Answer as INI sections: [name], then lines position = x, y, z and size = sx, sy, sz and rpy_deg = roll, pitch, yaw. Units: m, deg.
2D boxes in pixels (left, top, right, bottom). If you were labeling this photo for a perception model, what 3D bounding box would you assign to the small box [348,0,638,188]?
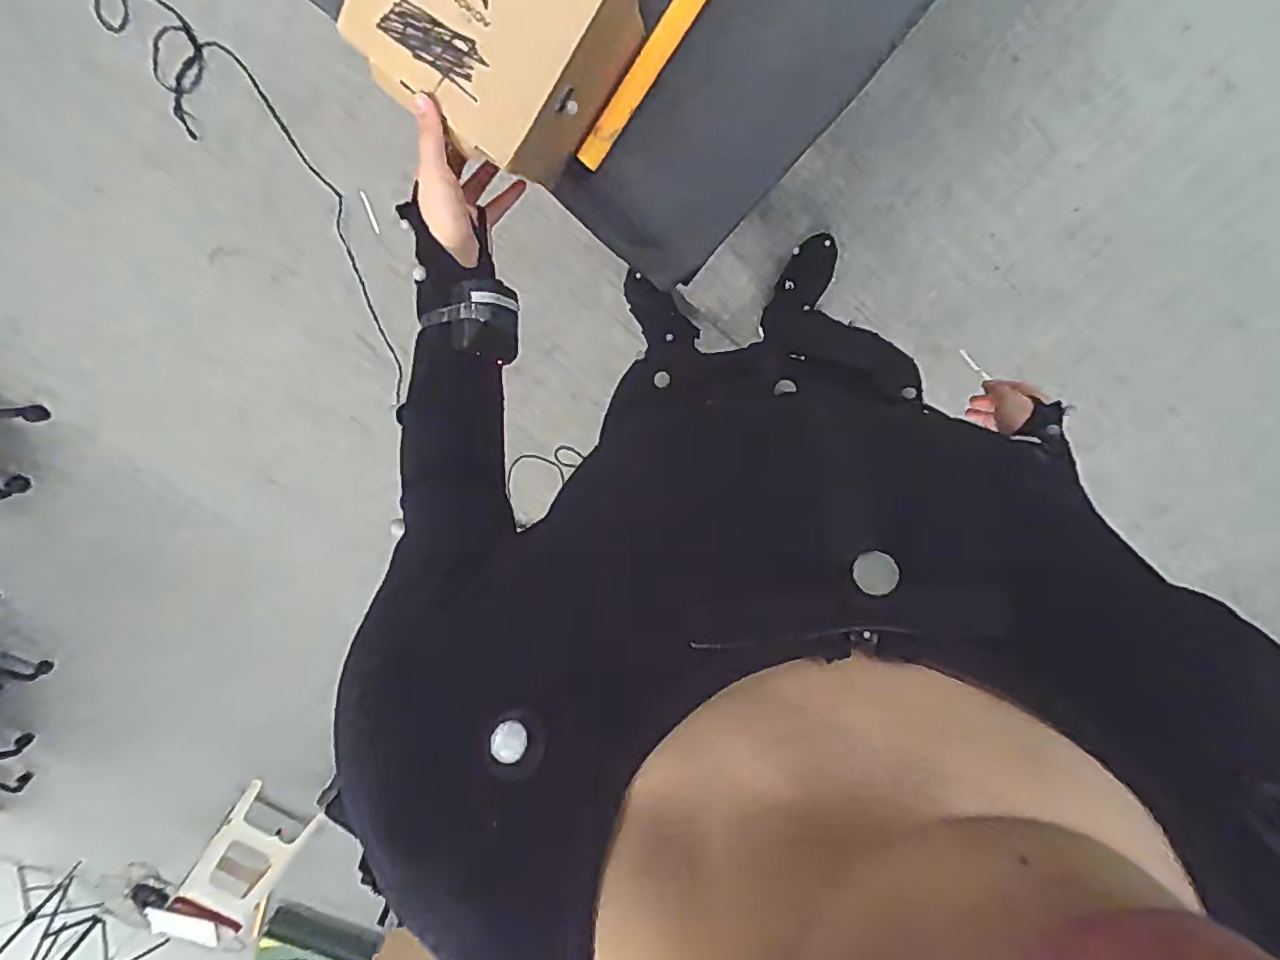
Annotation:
[small box]
position = -0.115, -0.396, 0.492
size = 0.168, 0.176, 0.179
rpy_deg = 36, 112, -11
